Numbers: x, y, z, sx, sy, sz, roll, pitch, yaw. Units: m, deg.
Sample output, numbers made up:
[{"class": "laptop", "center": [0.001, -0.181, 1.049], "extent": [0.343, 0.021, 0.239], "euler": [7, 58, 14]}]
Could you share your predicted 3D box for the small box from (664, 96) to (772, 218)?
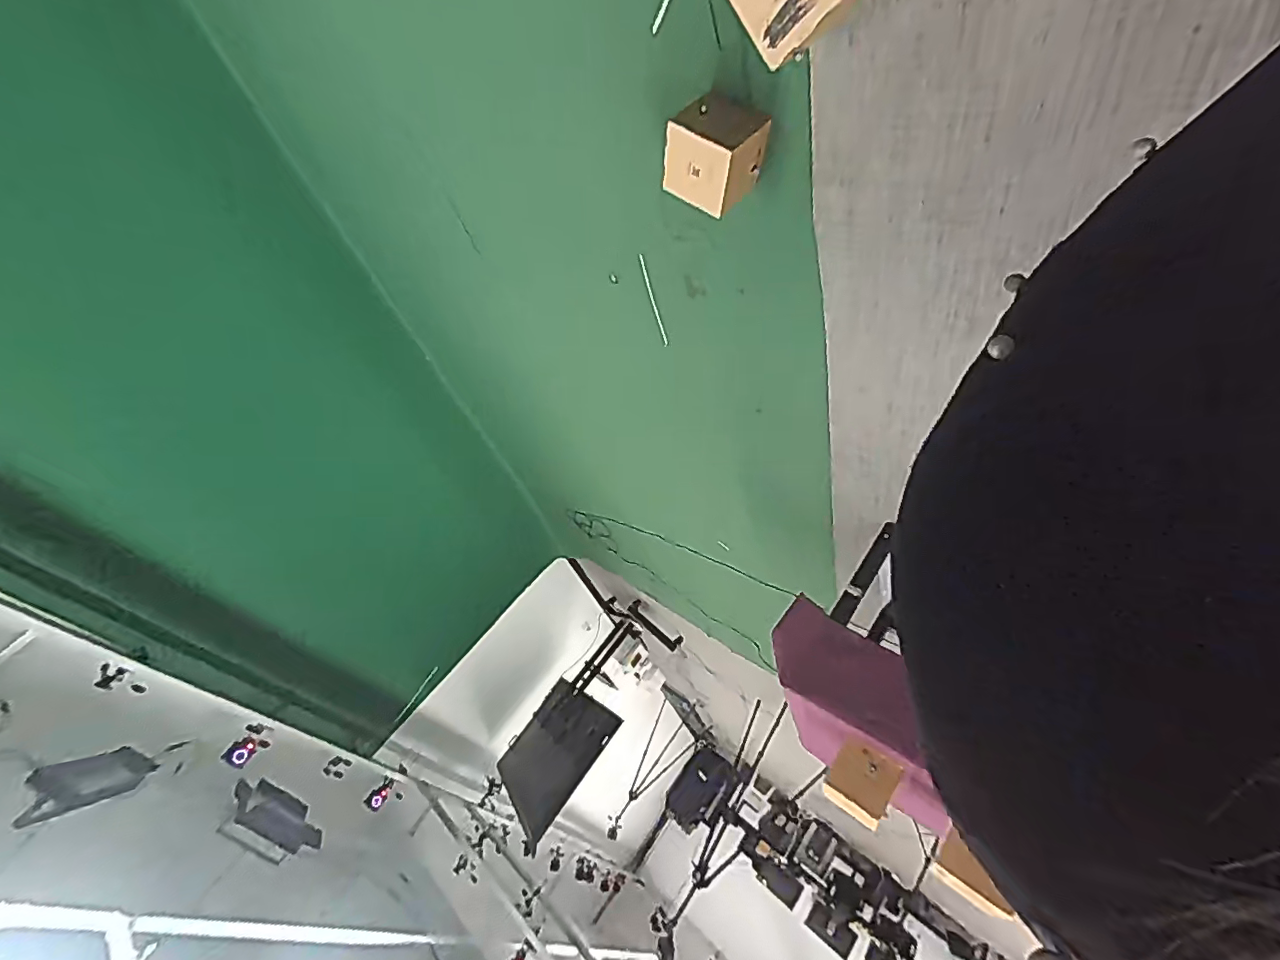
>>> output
[{"class": "small box", "center": [0.181, -0.770, 1.281], "extent": [0.179, 0.176, 0.168], "euler": [36, 157, 14]}]

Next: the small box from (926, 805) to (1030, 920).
[{"class": "small box", "center": [0.871, 0.985, 1.397], "extent": [0.179, 0.176, 0.168], "euler": [24, 152, 35]}]

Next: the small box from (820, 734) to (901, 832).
[{"class": "small box", "center": [0.646, 0.887, 1.589], "extent": [0.168, 0.176, 0.179], "euler": [25, 152, 34]}]
